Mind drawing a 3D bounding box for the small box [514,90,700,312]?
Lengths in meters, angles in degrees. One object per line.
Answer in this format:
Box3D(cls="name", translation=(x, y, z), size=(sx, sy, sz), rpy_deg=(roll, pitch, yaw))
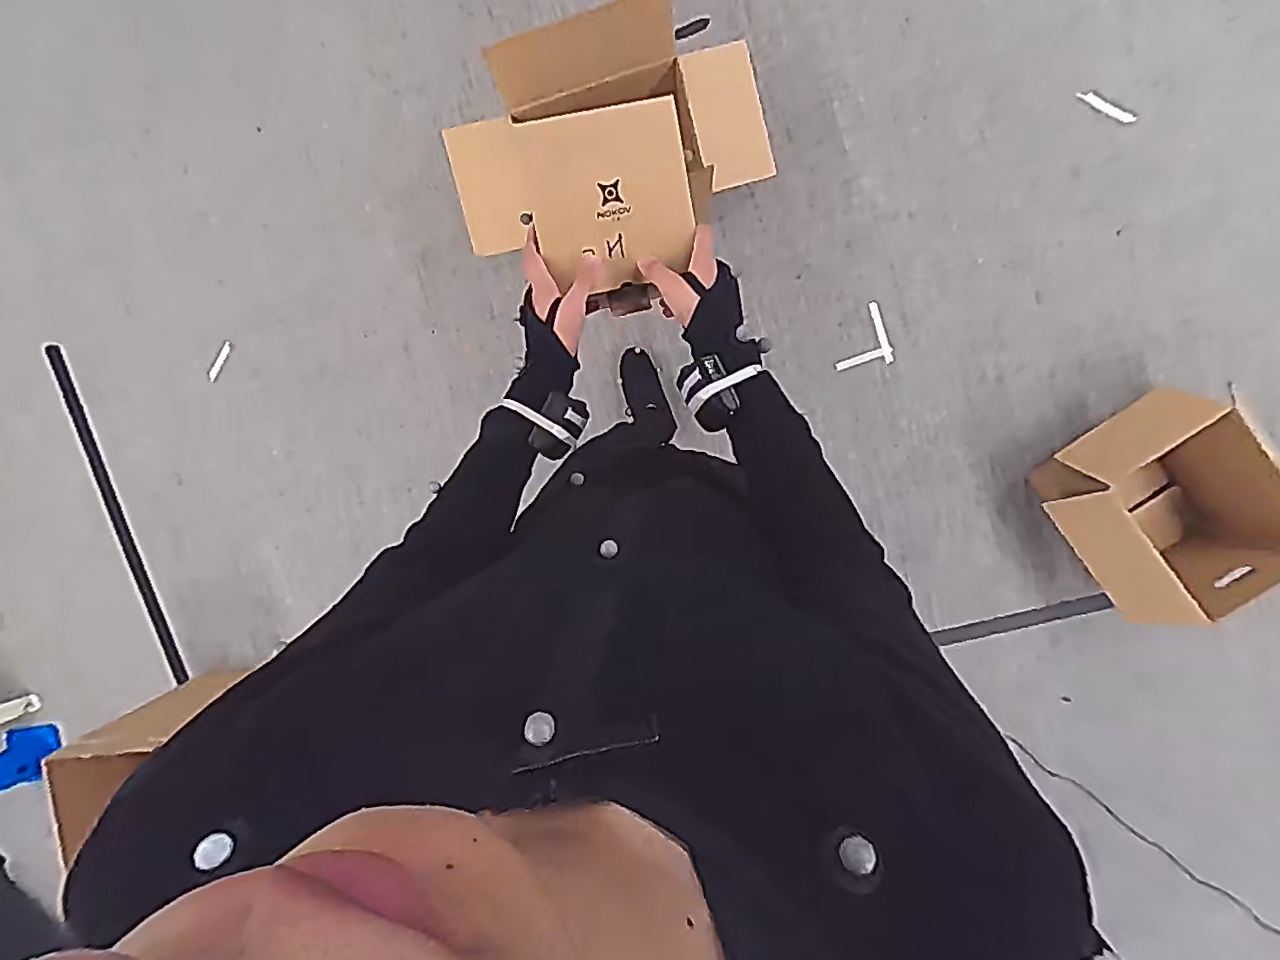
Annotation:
Box3D(cls="small box", translation=(-0.038, -0.305, 0.627), size=(0.168, 0.176, 0.179), rpy_deg=(-12, 103, -2))
